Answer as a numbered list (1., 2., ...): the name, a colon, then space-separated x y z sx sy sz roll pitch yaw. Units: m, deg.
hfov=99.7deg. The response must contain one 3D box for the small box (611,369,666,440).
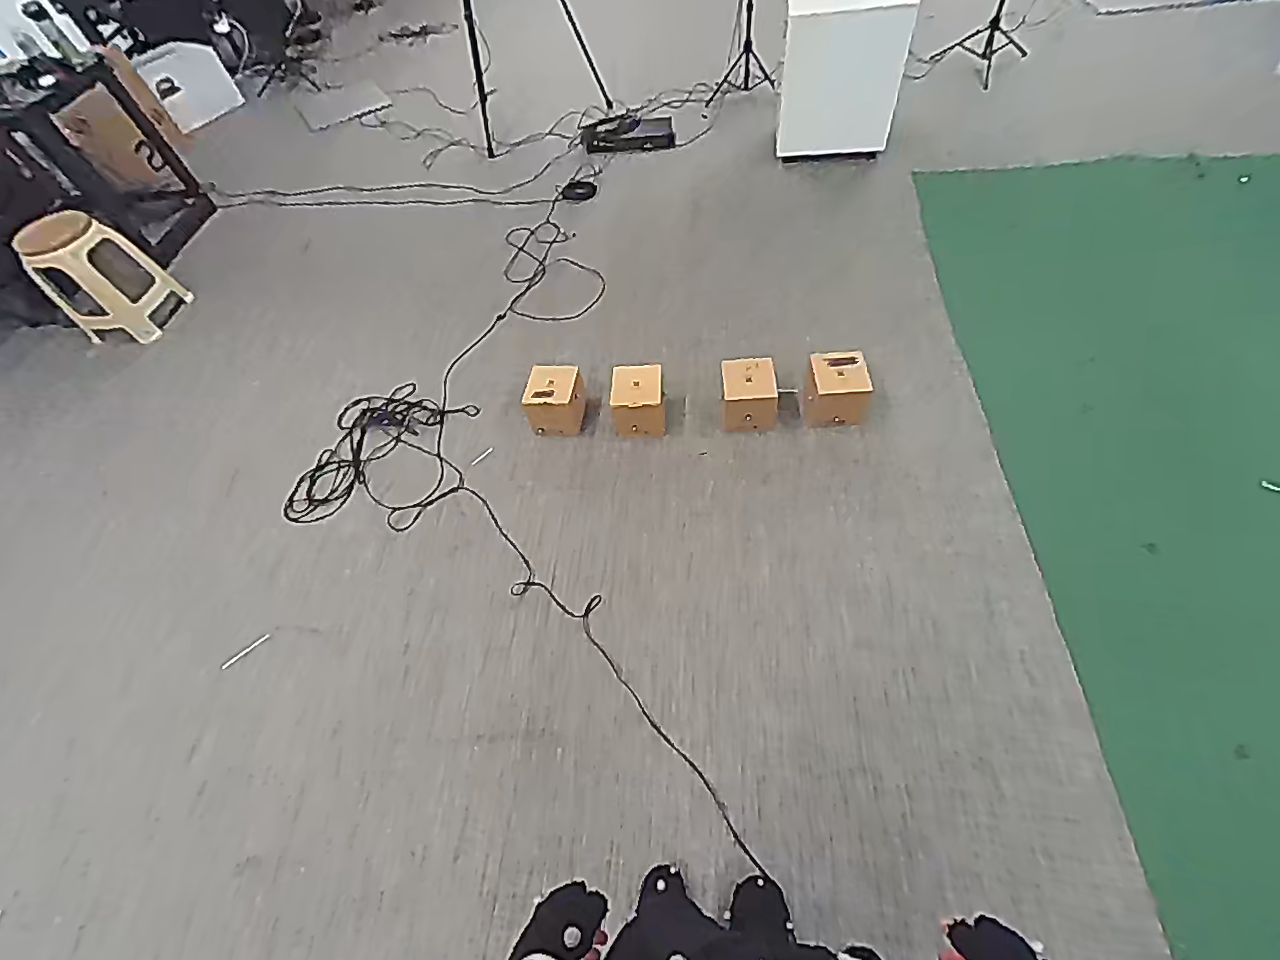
1. small box: -0.001 -0.257 1.848 0.168 0.176 0.179 -2 57 7

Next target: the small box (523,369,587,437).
1. small box: -0.289 -0.266 1.891 0.168 0.176 0.179 3 56 9

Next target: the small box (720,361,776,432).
1. small box: 0.356 -0.271 1.807 0.168 0.176 0.179 -3 56 5
